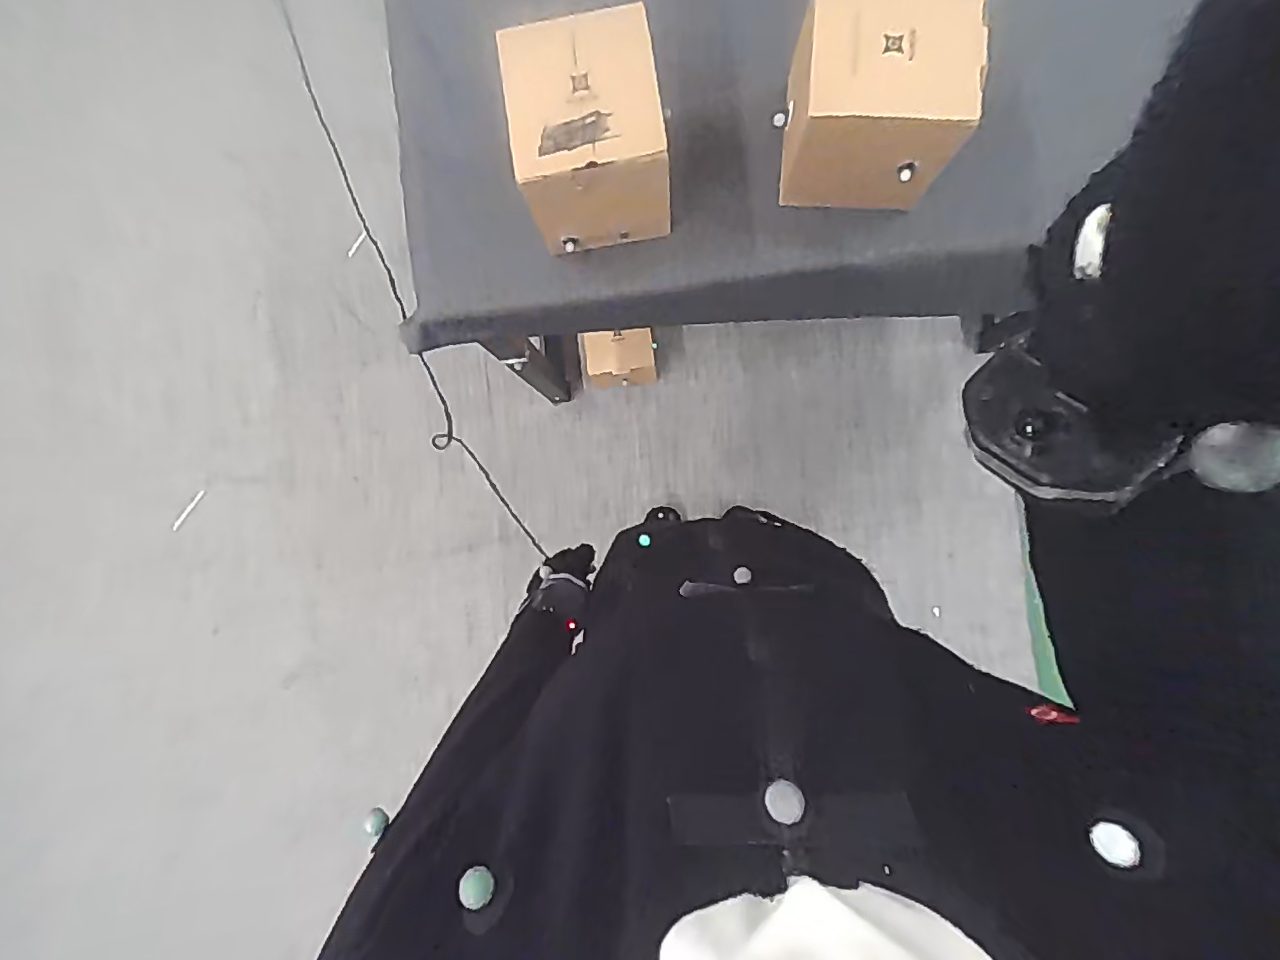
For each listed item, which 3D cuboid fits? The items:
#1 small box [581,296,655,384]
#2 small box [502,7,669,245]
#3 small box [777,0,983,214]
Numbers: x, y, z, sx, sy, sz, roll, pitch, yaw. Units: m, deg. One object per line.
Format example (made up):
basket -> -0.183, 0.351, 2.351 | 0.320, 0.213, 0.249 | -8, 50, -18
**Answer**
small box -> -0.051, -0.351, 1.392 | 0.168, 0.176, 0.179 | -6, 88, 3
small box -> -0.056, -0.410, 0.661 | 0.168, 0.176, 0.179 | -8, 85, 2
small box -> 0.273, -0.442, 0.648 | 0.179, 0.176, 0.168 | 4, 86, 5
